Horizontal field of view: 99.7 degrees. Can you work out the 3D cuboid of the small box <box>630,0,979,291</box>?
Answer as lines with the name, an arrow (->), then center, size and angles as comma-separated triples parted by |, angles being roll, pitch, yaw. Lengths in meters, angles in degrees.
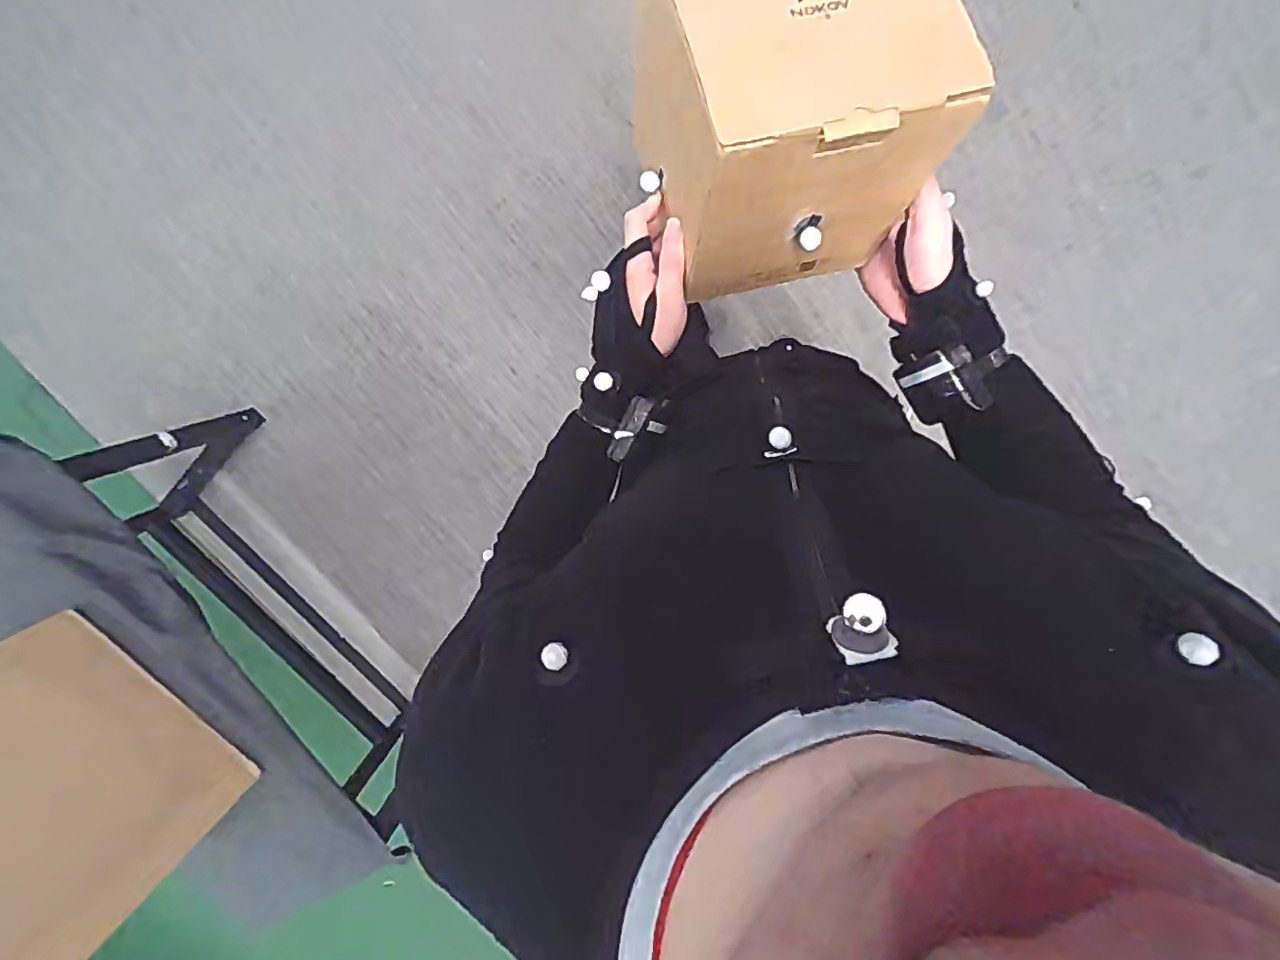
small box -> 0.091, -0.257, 0.390 | 0.168, 0.176, 0.179 | -13, 81, -5
